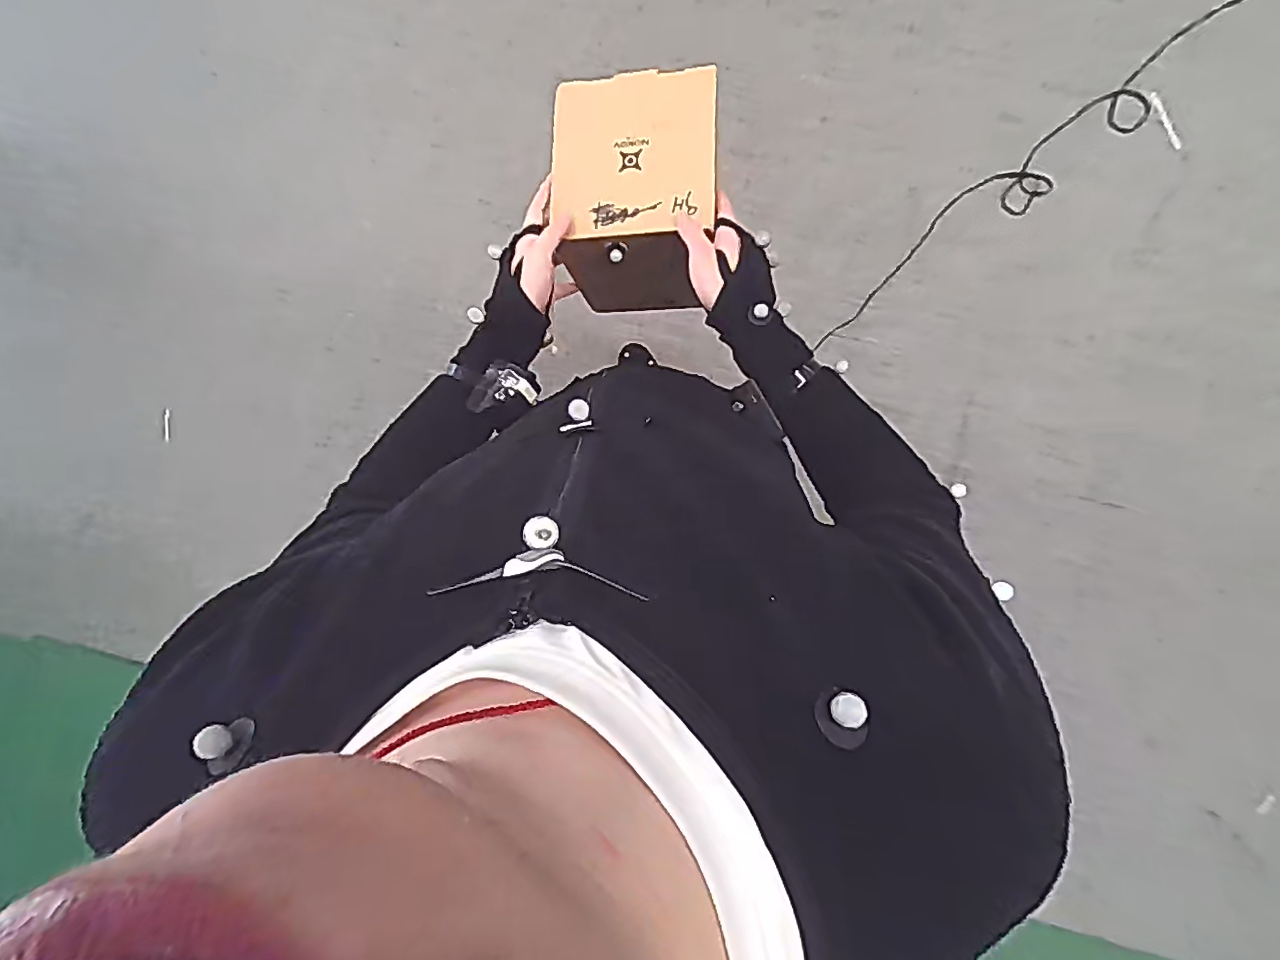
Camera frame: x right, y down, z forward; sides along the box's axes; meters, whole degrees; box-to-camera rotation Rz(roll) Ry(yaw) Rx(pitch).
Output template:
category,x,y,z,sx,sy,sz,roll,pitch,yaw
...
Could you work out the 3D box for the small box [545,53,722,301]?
category,x,y,z,sx,sy,sz,roll,pitch,yaw
small box,0.005,-0.322,0.607,0.168,0.176,0.179,1,83,11
